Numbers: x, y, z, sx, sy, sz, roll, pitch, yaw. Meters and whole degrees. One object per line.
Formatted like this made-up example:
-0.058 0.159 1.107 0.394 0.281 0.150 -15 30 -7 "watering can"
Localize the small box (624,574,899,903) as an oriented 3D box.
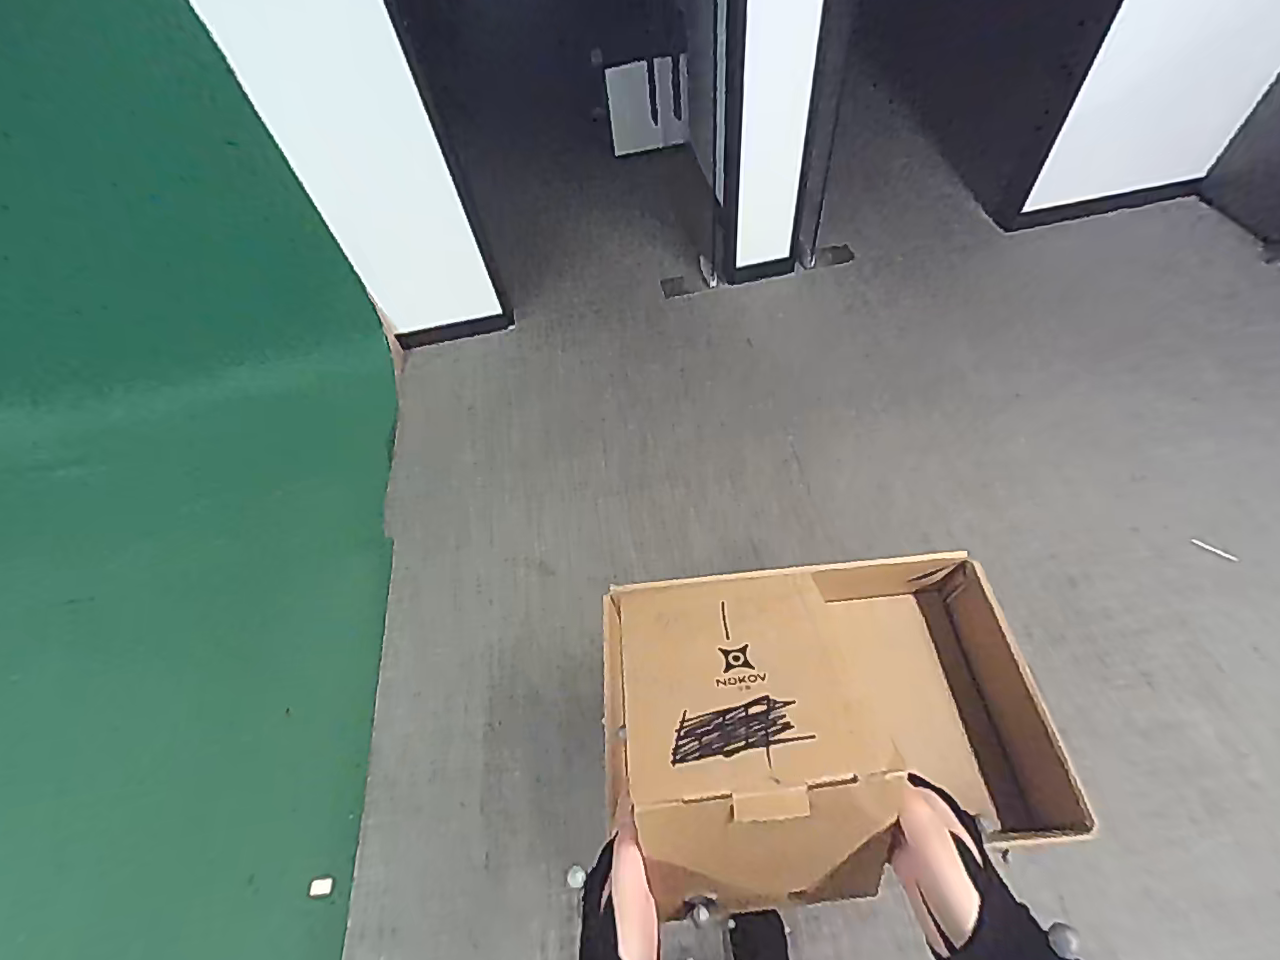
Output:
0.080 0.204 0.434 0.168 0.176 0.179 -7 31 0 "small box"
